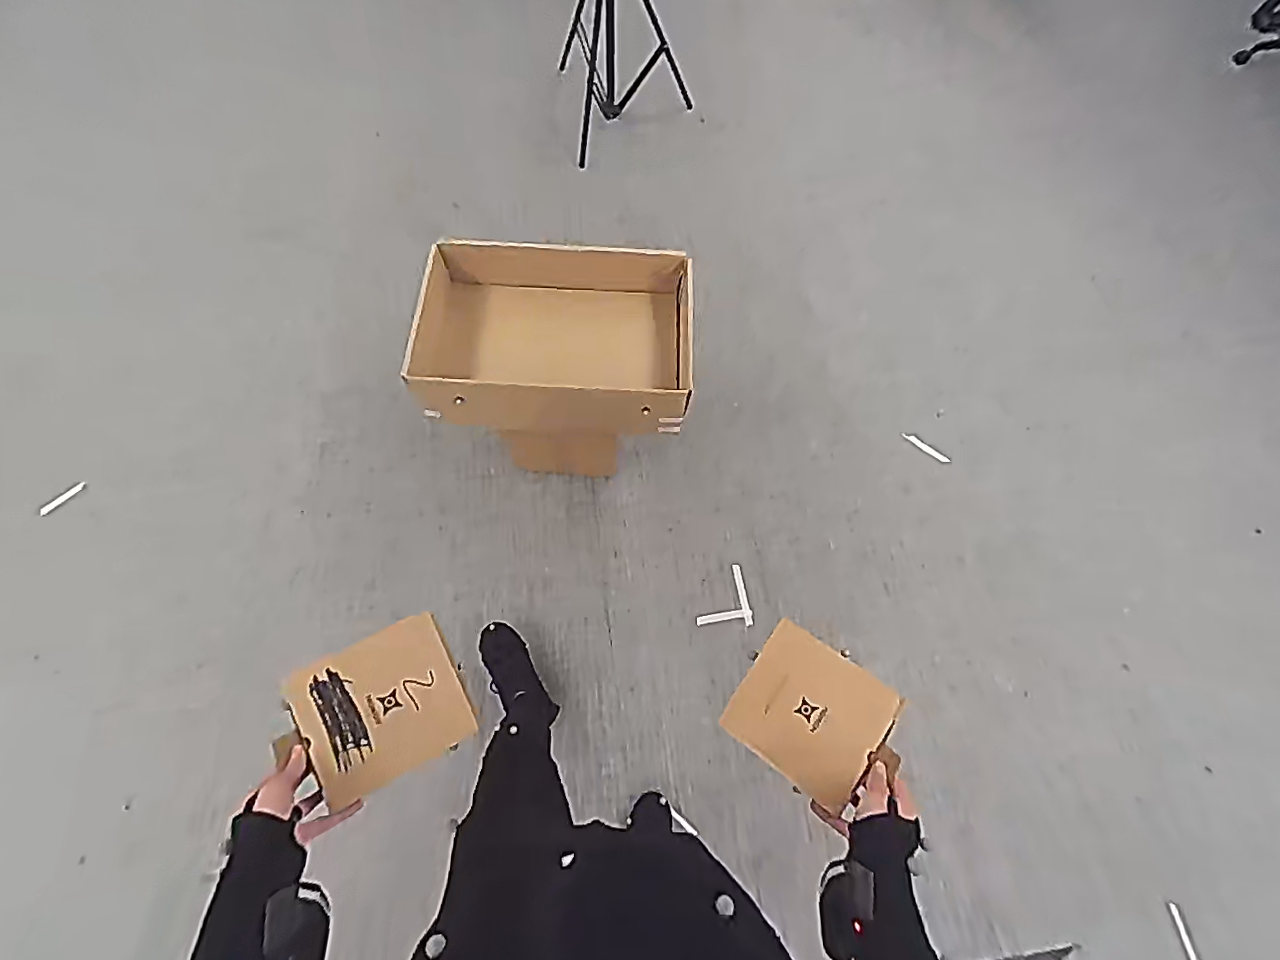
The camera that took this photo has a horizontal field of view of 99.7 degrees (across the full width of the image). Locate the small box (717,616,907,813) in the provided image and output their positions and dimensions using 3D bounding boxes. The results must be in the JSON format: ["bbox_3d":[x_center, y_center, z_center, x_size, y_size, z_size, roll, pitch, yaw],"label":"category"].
[{"bbox_3d":[0.228,0.309,0.746,0.179,0.176,0.168,32,80,21],"label":"small box"}]
